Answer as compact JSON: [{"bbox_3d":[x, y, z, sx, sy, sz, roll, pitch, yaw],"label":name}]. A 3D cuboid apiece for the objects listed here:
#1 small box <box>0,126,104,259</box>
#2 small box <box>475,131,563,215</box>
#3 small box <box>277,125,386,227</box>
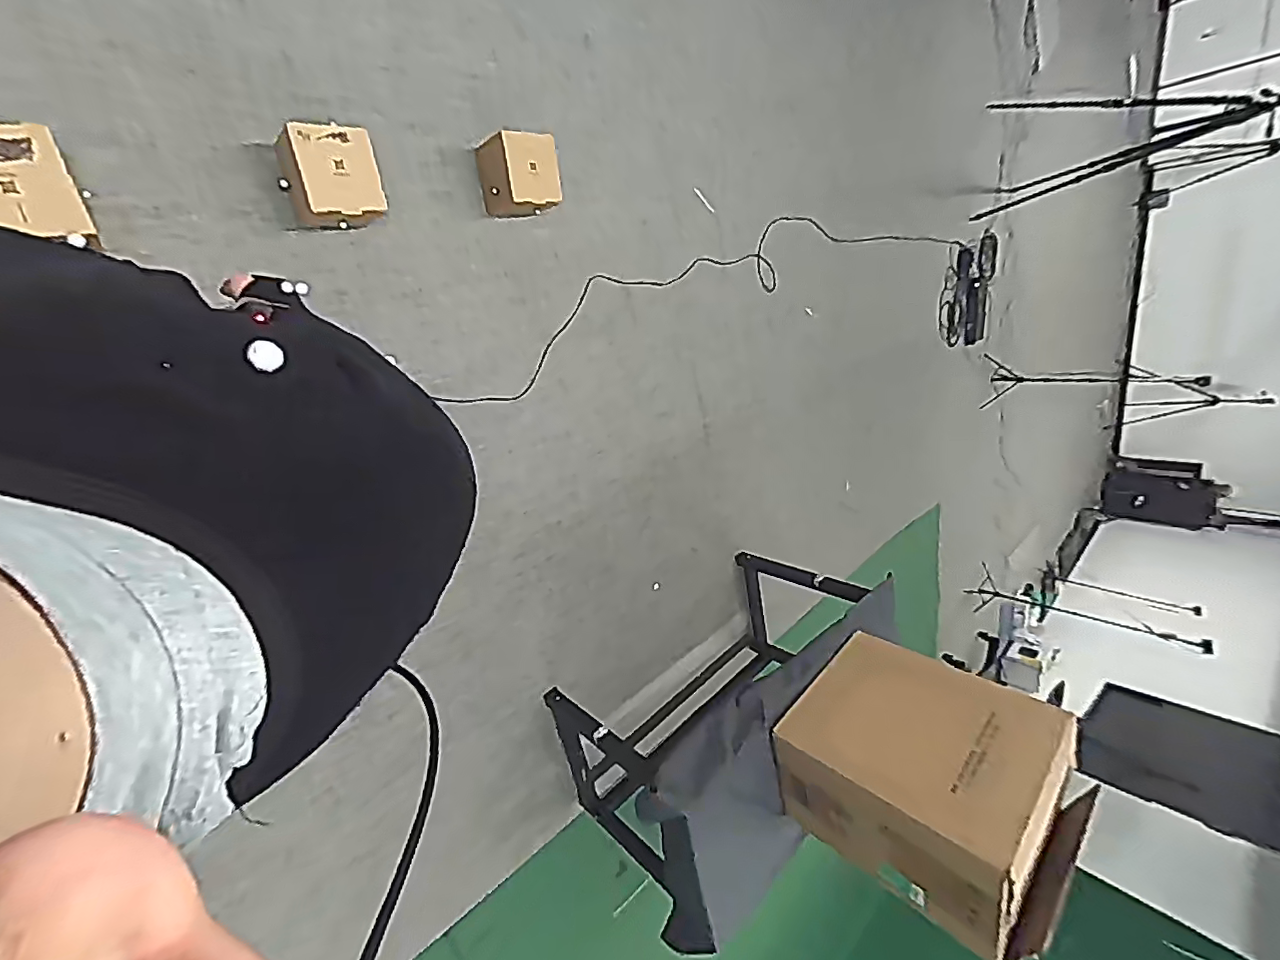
[{"bbox_3d":[-1.103,-0.504,0.961,0.168,0.176,0.179,-25,115,-35],"label":"small box"},{"bbox_3d":[-0.347,-0.868,1.548,0.168,0.176,0.179,-23,112,-36],"label":"small box"},{"bbox_3d":[-0.718,-0.696,1.260,0.168,0.176,0.179,-22,113,-36],"label":"small box"}]
